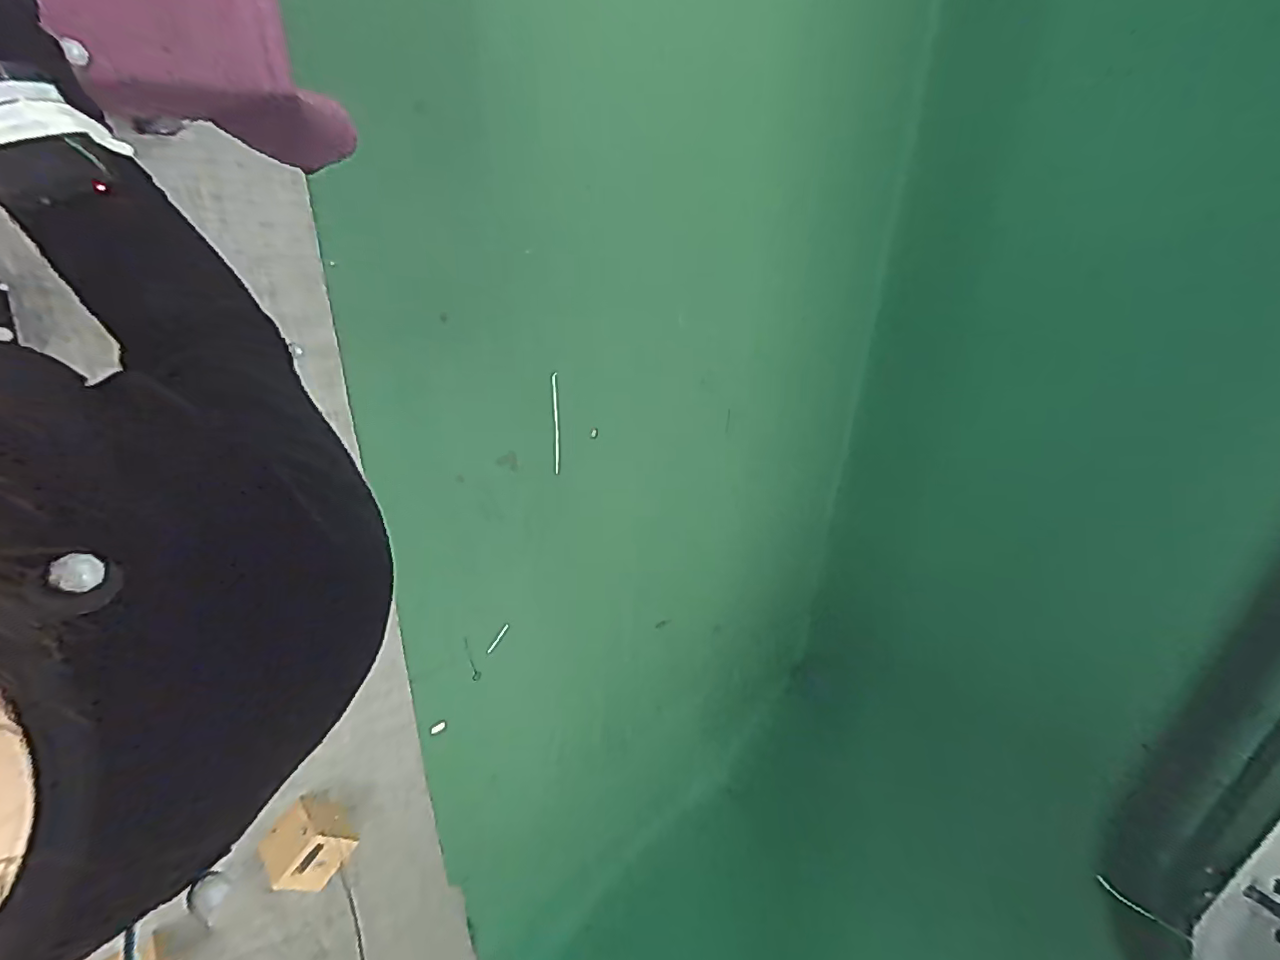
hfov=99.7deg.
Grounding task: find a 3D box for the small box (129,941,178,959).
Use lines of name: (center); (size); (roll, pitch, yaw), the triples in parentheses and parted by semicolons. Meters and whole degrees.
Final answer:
small box: (-1.326, 1.384, 1.424); (0.179, 0.176, 0.168); (-29, 128, -37)
